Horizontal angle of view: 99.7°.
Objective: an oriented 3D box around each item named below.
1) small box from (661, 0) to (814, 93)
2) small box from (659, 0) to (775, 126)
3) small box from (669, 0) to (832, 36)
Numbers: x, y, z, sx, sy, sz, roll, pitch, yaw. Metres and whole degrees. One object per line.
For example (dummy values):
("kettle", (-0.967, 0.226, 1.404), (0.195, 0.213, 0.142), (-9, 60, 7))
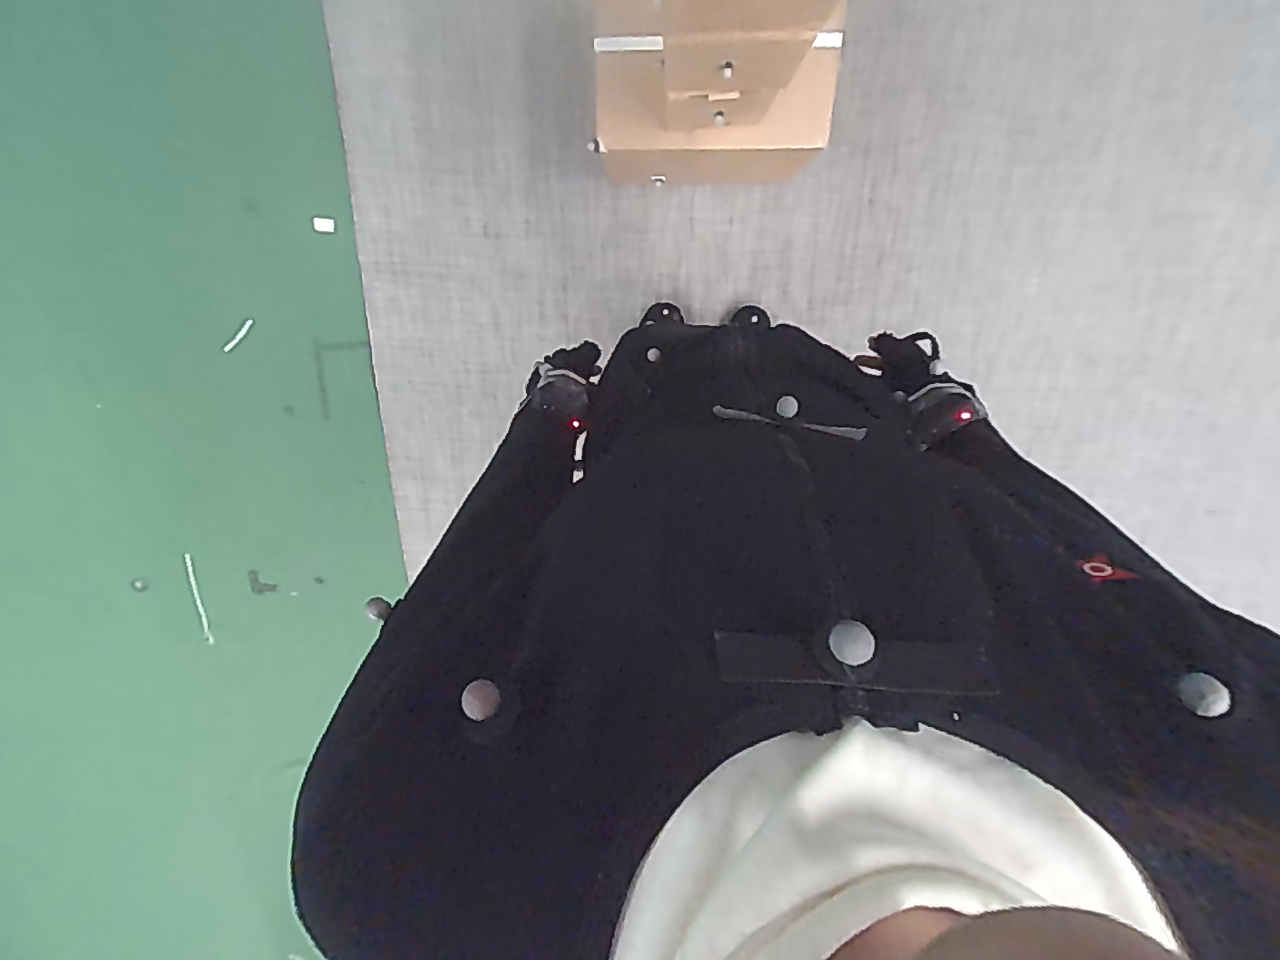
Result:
("small box", (0.115, -0.606, 0.672), (0.179, 0.176, 0.168), (1, 109, 3))
("small box", (0.114, -0.662, 0.827), (0.168, 0.176, 0.179), (-2, 110, 3))
("small box", (0.115, -0.558, 0.517), (0.179, 0.176, 0.168), (-2, 110, 1))
